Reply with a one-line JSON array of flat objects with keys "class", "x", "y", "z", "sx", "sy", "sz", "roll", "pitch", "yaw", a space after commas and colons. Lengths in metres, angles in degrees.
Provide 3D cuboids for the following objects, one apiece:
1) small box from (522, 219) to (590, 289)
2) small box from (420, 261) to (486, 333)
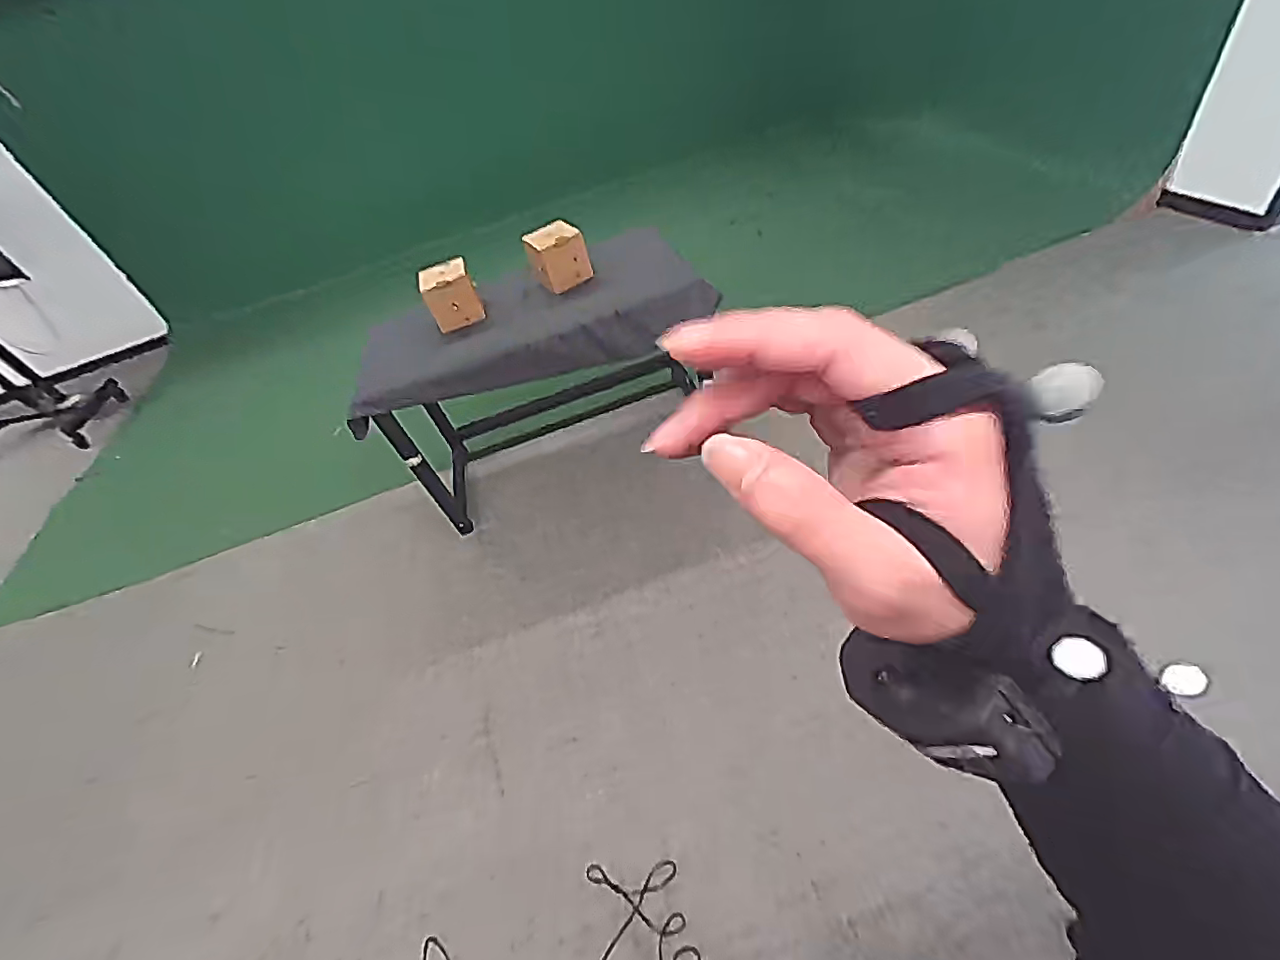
[{"class": "small box", "x": -0.300, "y": -0.813, "z": 1.957, "sx": 0.168, "sy": 0.176, "sz": 0.179, "roll": -28, "pitch": 45, "yaw": -13}, {"class": "small box", "x": -0.671, "y": -0.652, "z": 1.949, "sx": 0.168, "sy": 0.176, "sz": 0.179, "roll": -25, "pitch": 44, "yaw": -5}]
